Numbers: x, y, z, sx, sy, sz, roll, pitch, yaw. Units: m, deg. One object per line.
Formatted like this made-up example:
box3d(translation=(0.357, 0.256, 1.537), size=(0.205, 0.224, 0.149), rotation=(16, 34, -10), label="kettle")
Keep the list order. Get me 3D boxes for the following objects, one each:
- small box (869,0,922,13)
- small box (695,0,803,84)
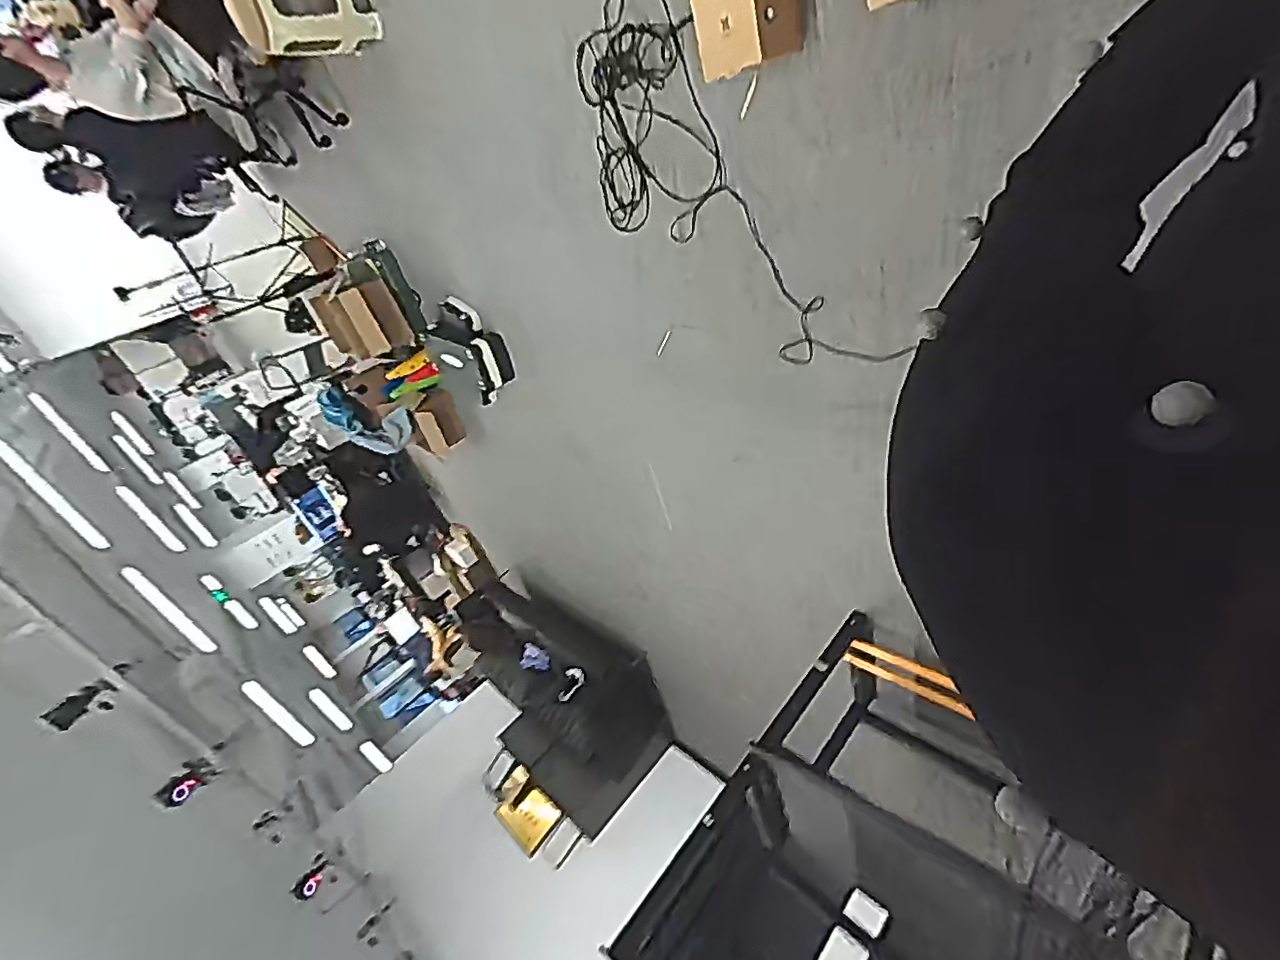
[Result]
box3d(translation=(0.526, -0.968, 0.956), size=(0.168, 0.176, 0.179), rotation=(22, 138, 41), label="small box")
box3d(translation=(0.255, -1.049, 1.243), size=(0.168, 0.176, 0.179), rotation=(17, 136, 45), label="small box")
